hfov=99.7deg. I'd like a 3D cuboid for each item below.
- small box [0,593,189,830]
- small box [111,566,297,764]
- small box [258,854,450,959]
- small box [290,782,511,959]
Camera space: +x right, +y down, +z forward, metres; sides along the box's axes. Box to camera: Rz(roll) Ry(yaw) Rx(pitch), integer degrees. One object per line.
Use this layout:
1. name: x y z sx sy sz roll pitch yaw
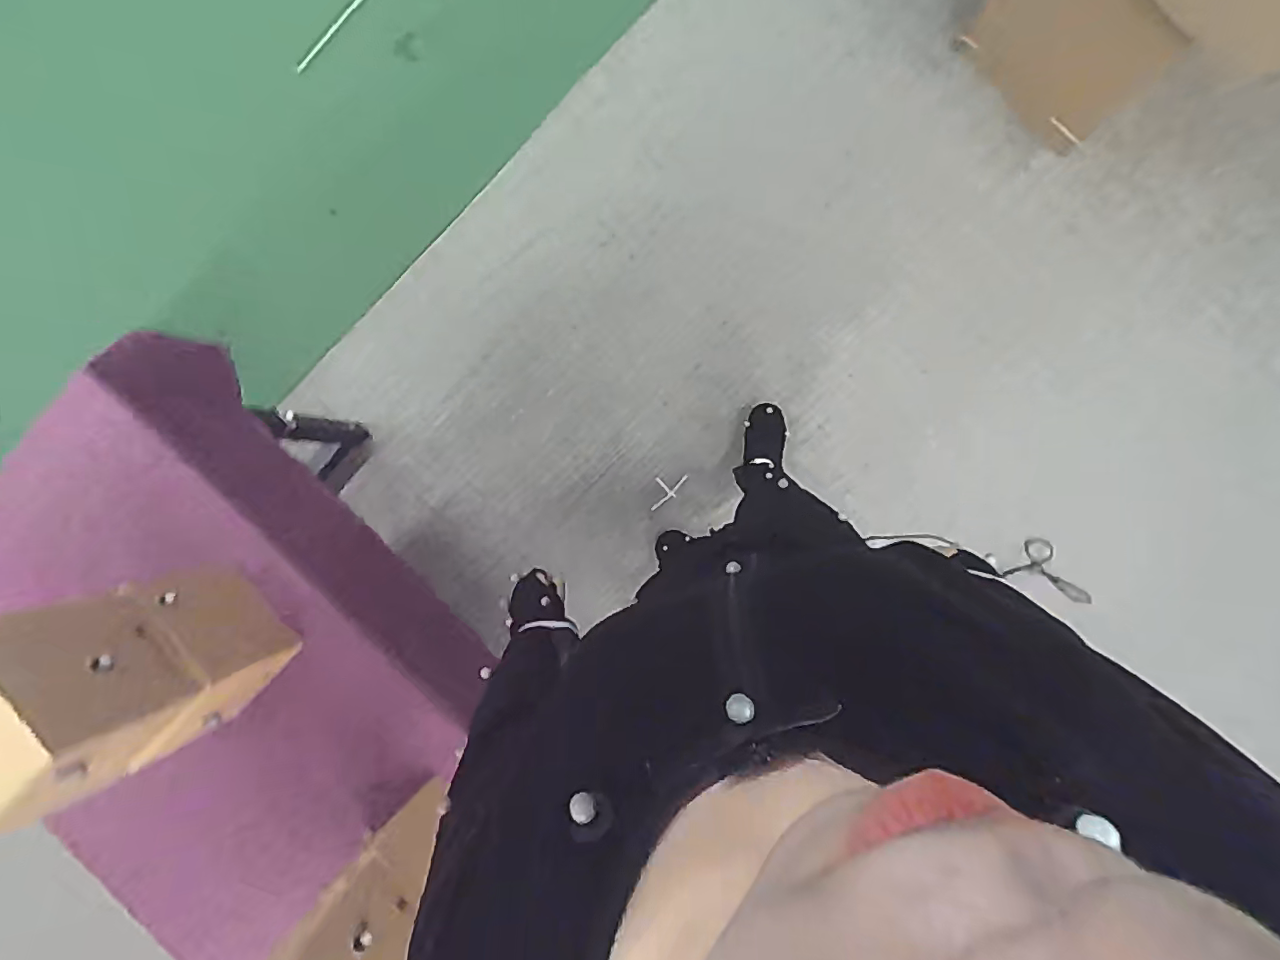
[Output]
1. small box: -0.660 0.250 0.598 0.179 0.176 0.168 -43 86 5
2. small box: -0.640 0.244 0.762 0.168 0.176 0.179 -45 86 5
3. small box: -0.330 0.557 0.573 0.179 0.176 0.168 -44 86 5
4. small box: -0.311 0.551 0.735 0.179 0.176 0.168 44 95 4
